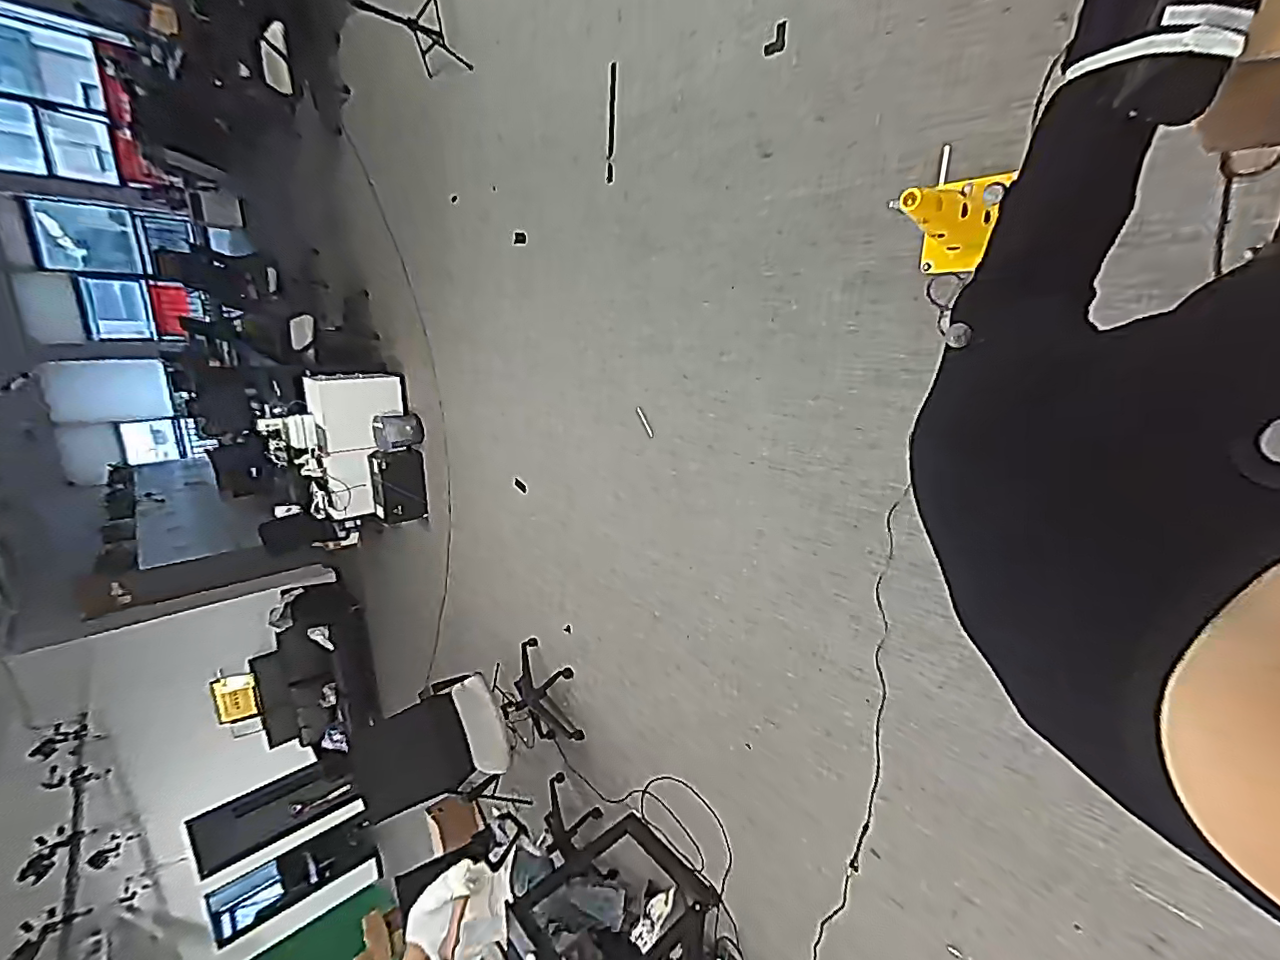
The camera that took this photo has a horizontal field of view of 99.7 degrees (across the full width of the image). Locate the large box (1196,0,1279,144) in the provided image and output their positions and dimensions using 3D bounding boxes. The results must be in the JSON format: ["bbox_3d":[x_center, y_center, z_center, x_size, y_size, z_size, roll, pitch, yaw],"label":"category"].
[{"bbox_3d":[0.597,-0.395,0.261,0.408,0.320,0.320,21,118,41],"label":"large box"}]
